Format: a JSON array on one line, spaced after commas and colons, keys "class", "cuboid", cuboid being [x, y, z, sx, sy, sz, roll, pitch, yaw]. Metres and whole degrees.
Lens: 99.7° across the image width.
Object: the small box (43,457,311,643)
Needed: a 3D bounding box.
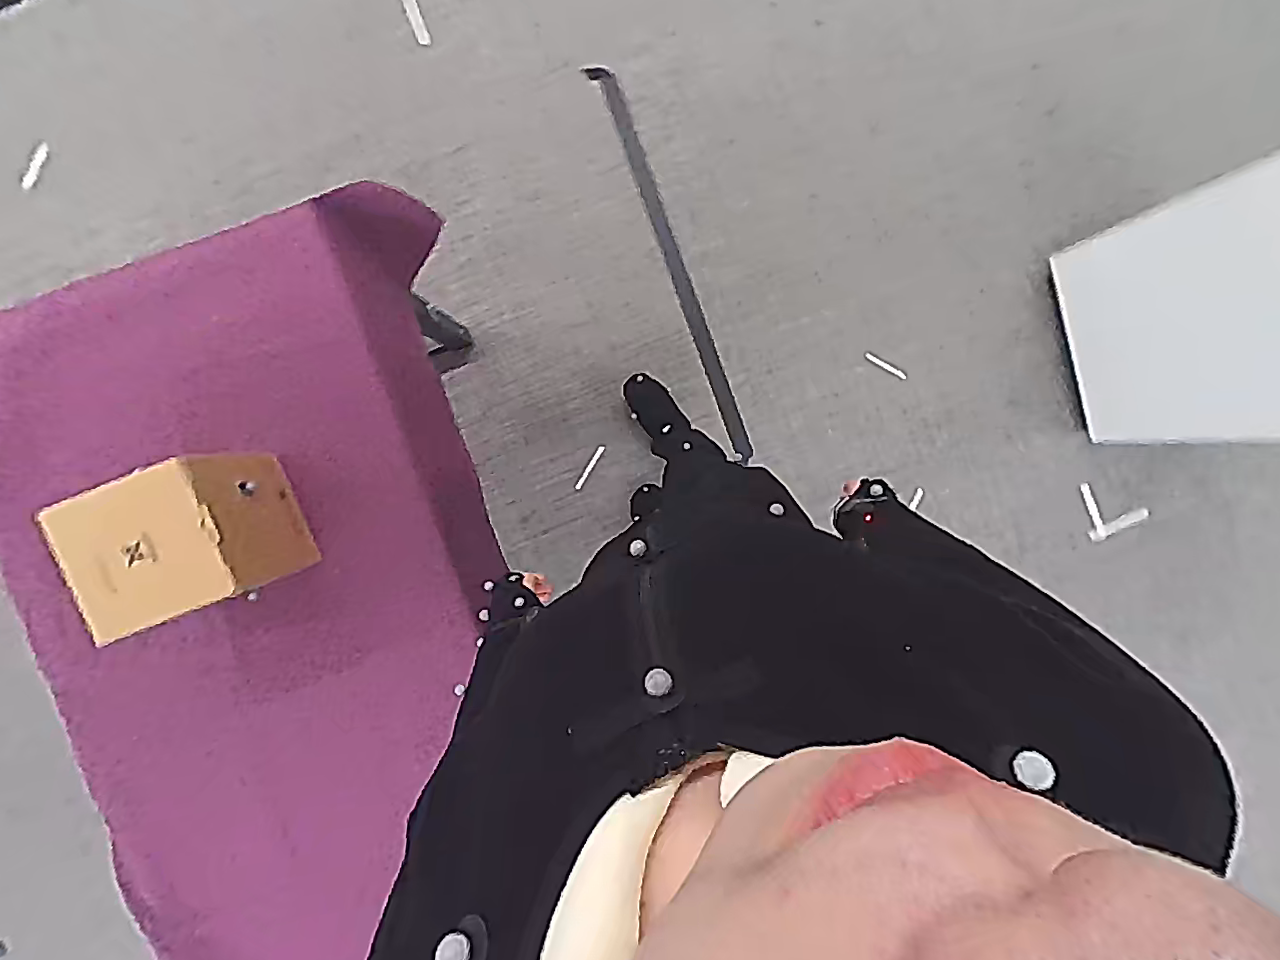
[{"class": "small box", "cuboid": [-0.558, 0.074, 0.686, 0.179, 0.176, 0.168, -22, 93, 1]}]
